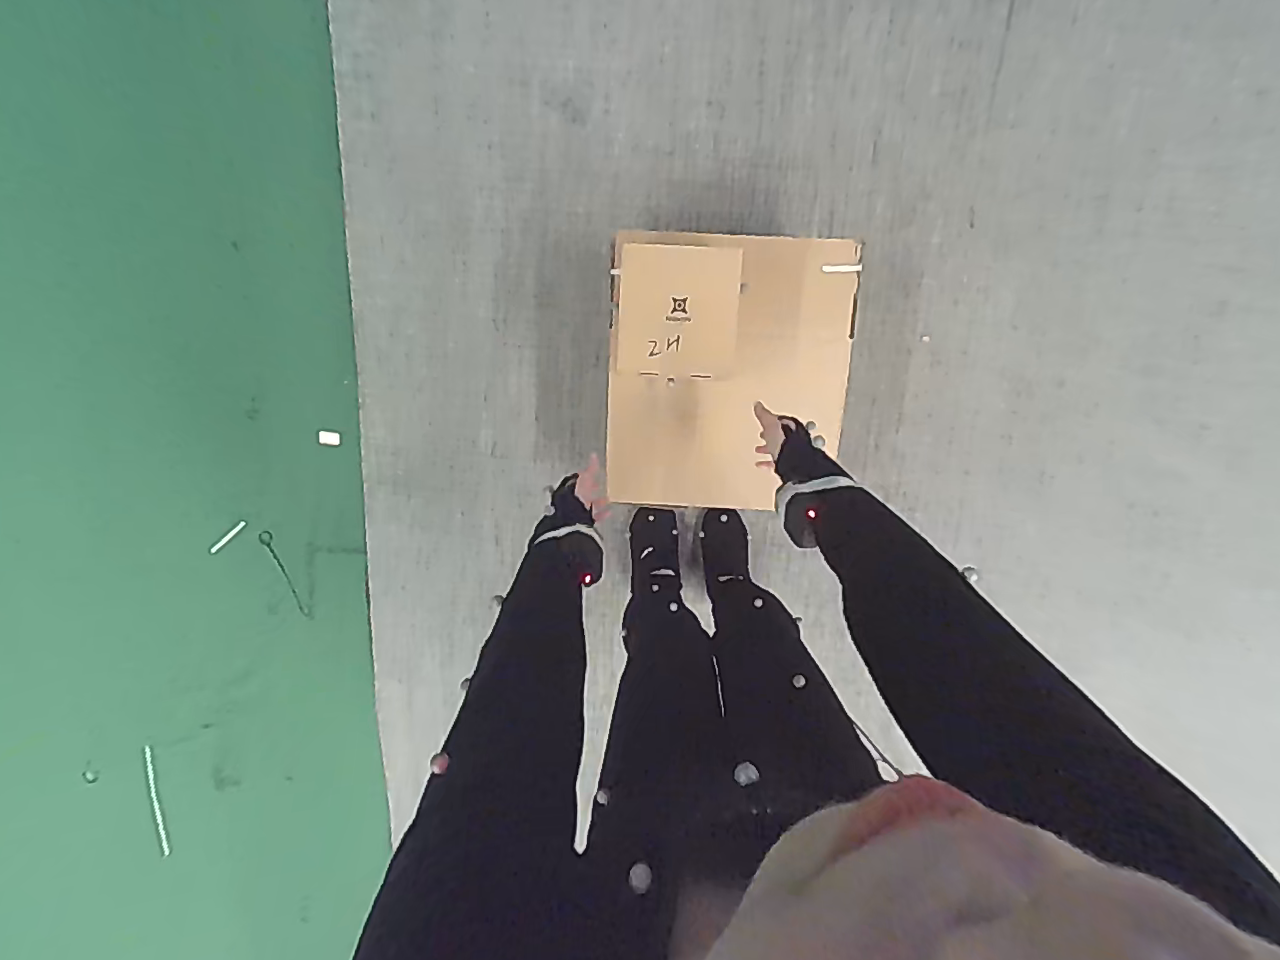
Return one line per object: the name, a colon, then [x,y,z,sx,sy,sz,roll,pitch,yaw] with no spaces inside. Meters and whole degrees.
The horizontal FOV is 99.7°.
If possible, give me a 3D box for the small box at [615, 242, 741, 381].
small box: [0.051,-0.244,0.821,0.168,0.176,0.179,3,100,1]
